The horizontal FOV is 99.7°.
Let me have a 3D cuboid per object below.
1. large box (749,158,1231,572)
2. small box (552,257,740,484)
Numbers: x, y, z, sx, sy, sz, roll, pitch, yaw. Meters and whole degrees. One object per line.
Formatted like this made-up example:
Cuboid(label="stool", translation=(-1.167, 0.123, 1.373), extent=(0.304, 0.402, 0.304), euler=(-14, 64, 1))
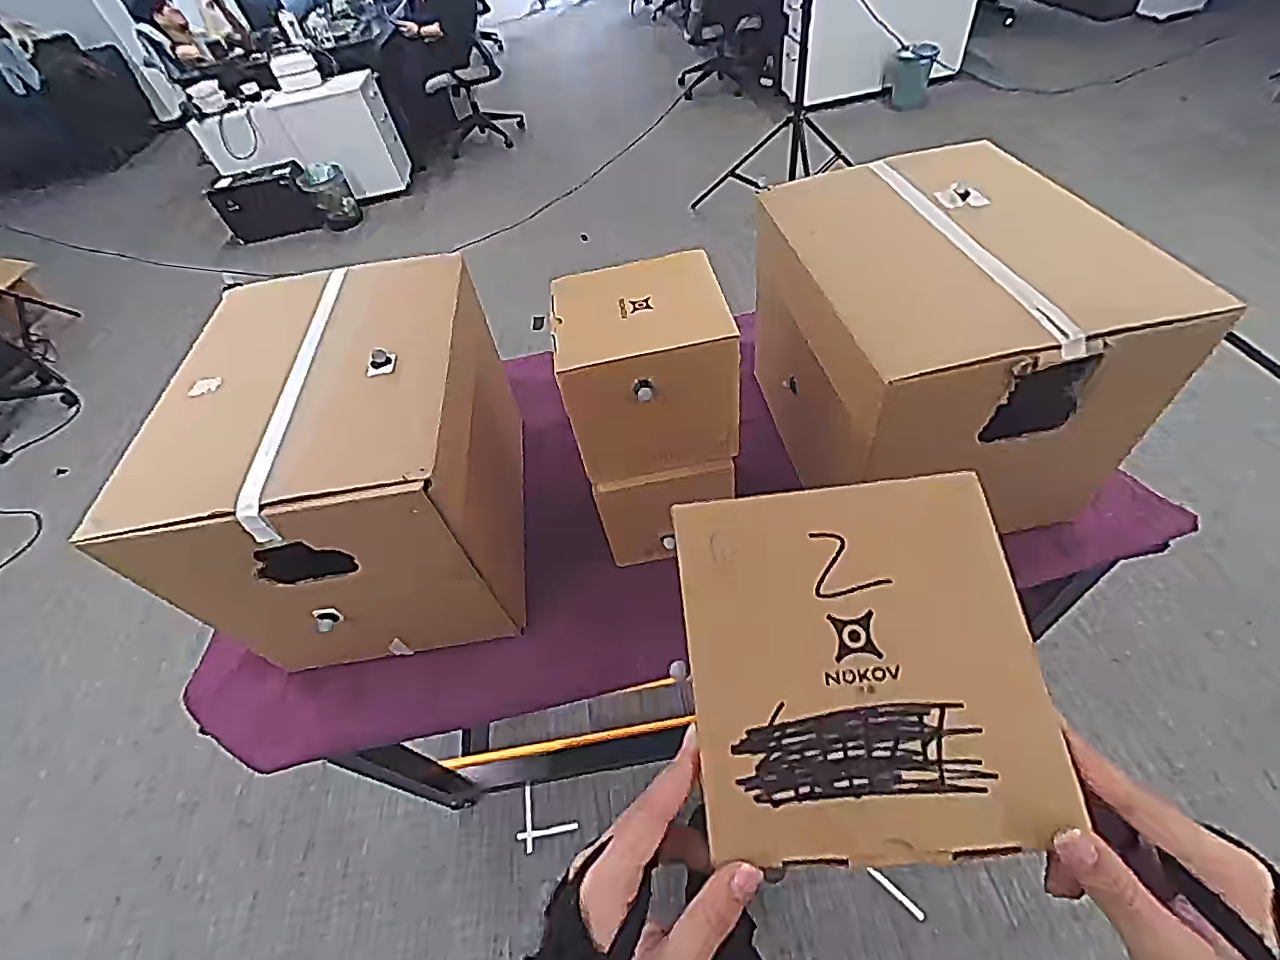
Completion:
Cuboid(label="large box", translation=(0.348, -0.152, 0.699), extent=(0.320, 0.320, 0.408), euler=(-12, 49, 0))
Cuboid(label="small box", translation=(0.008, -0.118, 0.609), extent=(0.179, 0.176, 0.168), euler=(-12, 50, 2))
